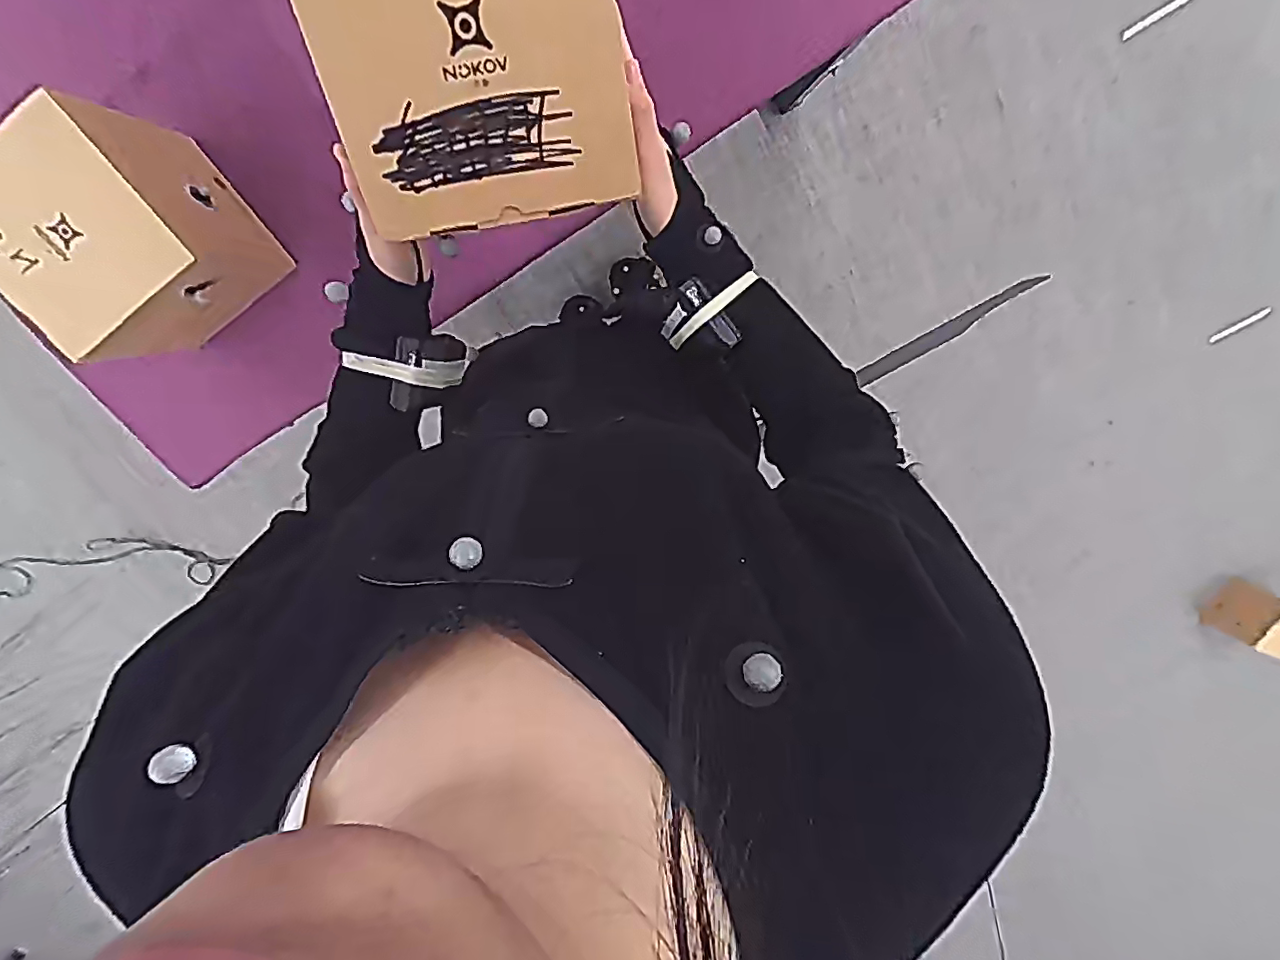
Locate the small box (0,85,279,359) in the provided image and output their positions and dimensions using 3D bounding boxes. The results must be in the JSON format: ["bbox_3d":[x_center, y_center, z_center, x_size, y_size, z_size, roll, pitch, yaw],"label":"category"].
[{"bbox_3d":[-0.525,-0.252,0.562,0.179,0.176,0.168,-33,107,10],"label":"small box"}]

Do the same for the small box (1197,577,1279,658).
[{"bbox_3d":[1.927,0.425,1.688,0.179,0.176,0.168,19,110,-10],"label":"small box"}]
